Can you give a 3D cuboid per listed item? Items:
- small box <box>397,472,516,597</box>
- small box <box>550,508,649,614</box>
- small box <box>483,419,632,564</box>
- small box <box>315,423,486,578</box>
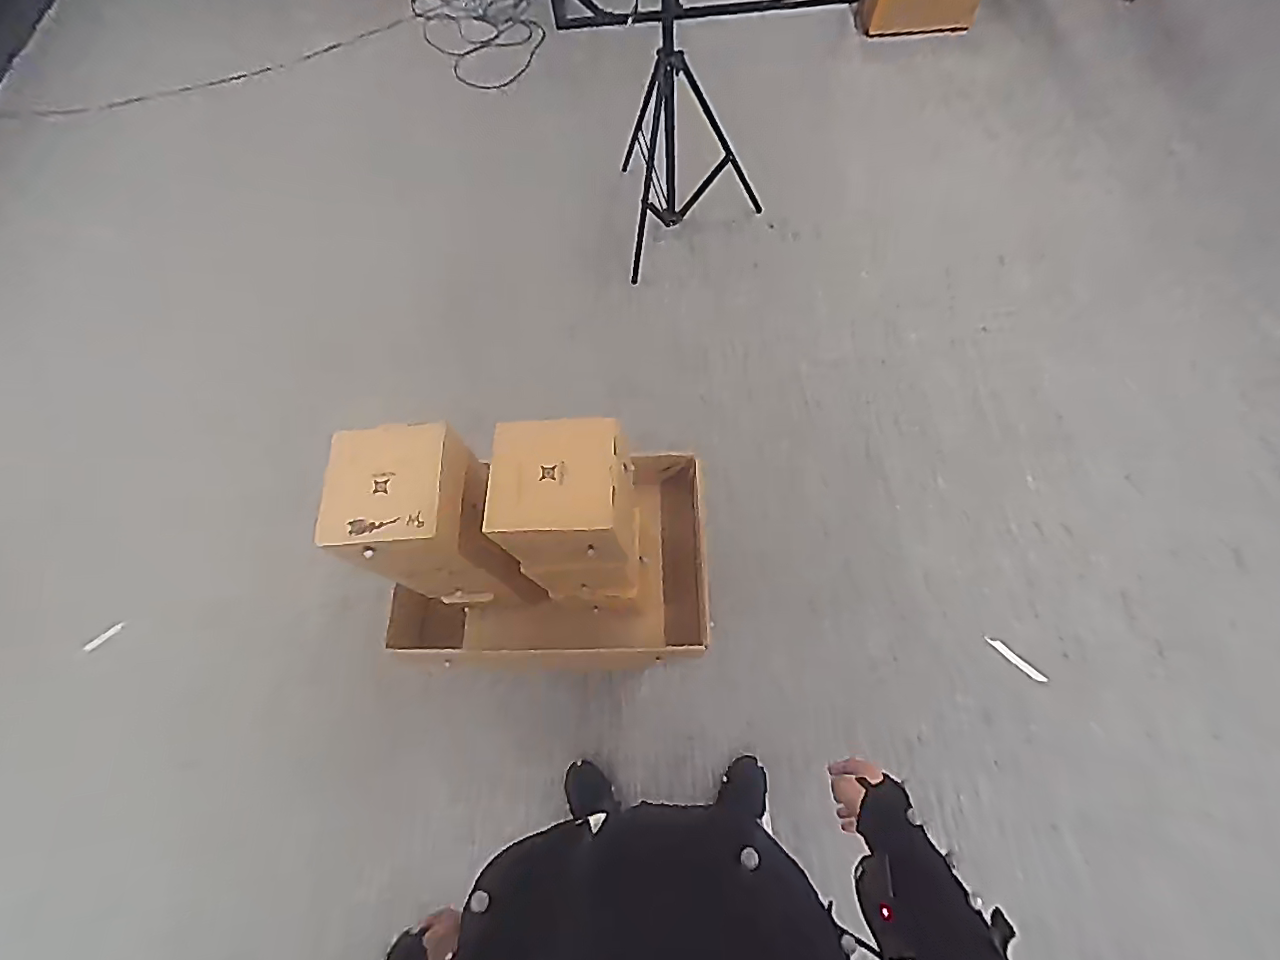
[{"bbox_3d":[-0.321,0.101,0.959,0.168,0.176,0.179,-4,67,3],"label":"small box"},{"bbox_3d":[-0.074,0.166,1.090,0.168,0.176,0.179,-1,67,7],"label":"small box"},{"bbox_3d":[-0.108,0.023,0.797,0.179,0.176,0.168,-2,67,8],"label":"small box"},{"bbox_3d":[-0.340,0.036,0.807,0.168,0.176,0.179,-5,65,4],"label":"small box"}]
